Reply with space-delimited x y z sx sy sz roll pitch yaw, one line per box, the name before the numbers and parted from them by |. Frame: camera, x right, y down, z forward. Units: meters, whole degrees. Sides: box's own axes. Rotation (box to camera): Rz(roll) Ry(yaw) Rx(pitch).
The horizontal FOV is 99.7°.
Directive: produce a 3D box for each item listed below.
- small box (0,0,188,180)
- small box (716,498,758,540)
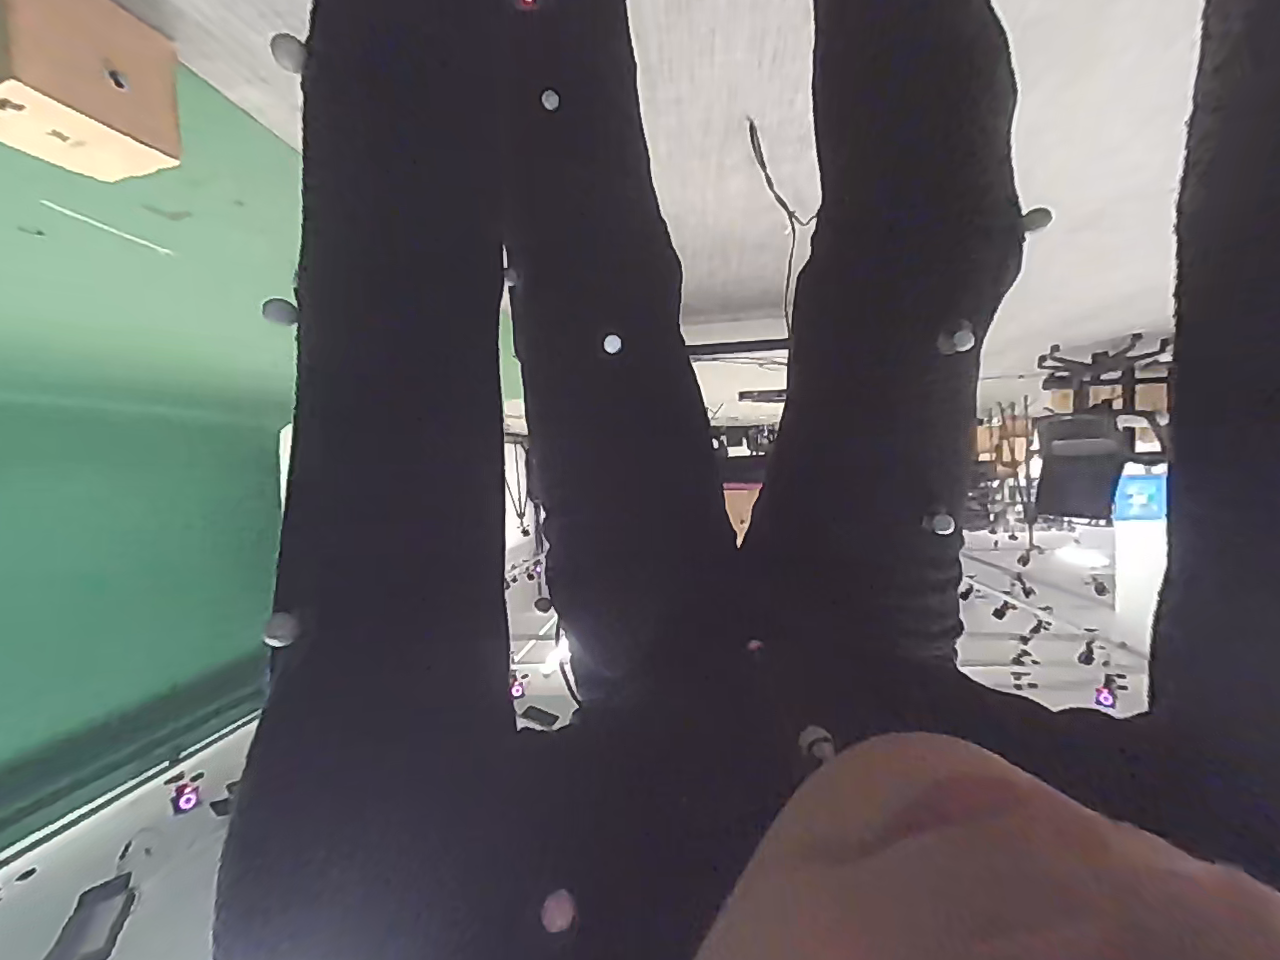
small box | -0.743 -0.530 0.706 0.168 0.176 0.179 -1 -178 17
small box | 0.413 0.164 2.316 0.168 0.176 0.179 -1 180 7
